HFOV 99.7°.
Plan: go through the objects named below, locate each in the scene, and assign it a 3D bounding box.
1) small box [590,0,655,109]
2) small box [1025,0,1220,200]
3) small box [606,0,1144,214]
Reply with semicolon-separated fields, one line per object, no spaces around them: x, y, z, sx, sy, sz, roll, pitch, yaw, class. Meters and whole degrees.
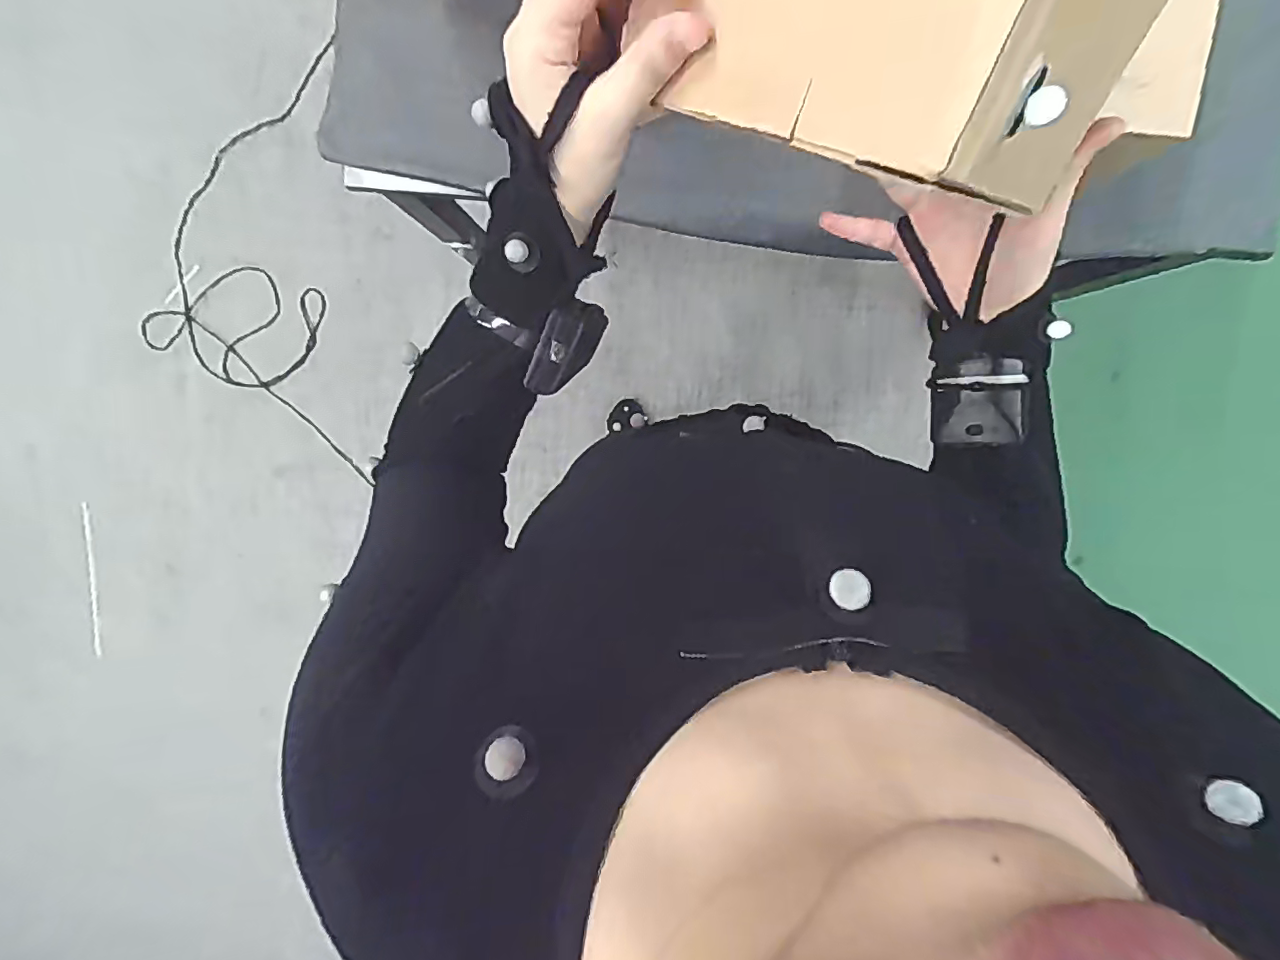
0.033;-0.553;0.596;0.168;0.176;0.179;-20;96;4;small box
0.464;-0.439;0.595;0.168;0.176;0.179;6;97;2;small box
0.116;-0.233;0.231;0.168;0.179;0.176;39;130;29;small box
